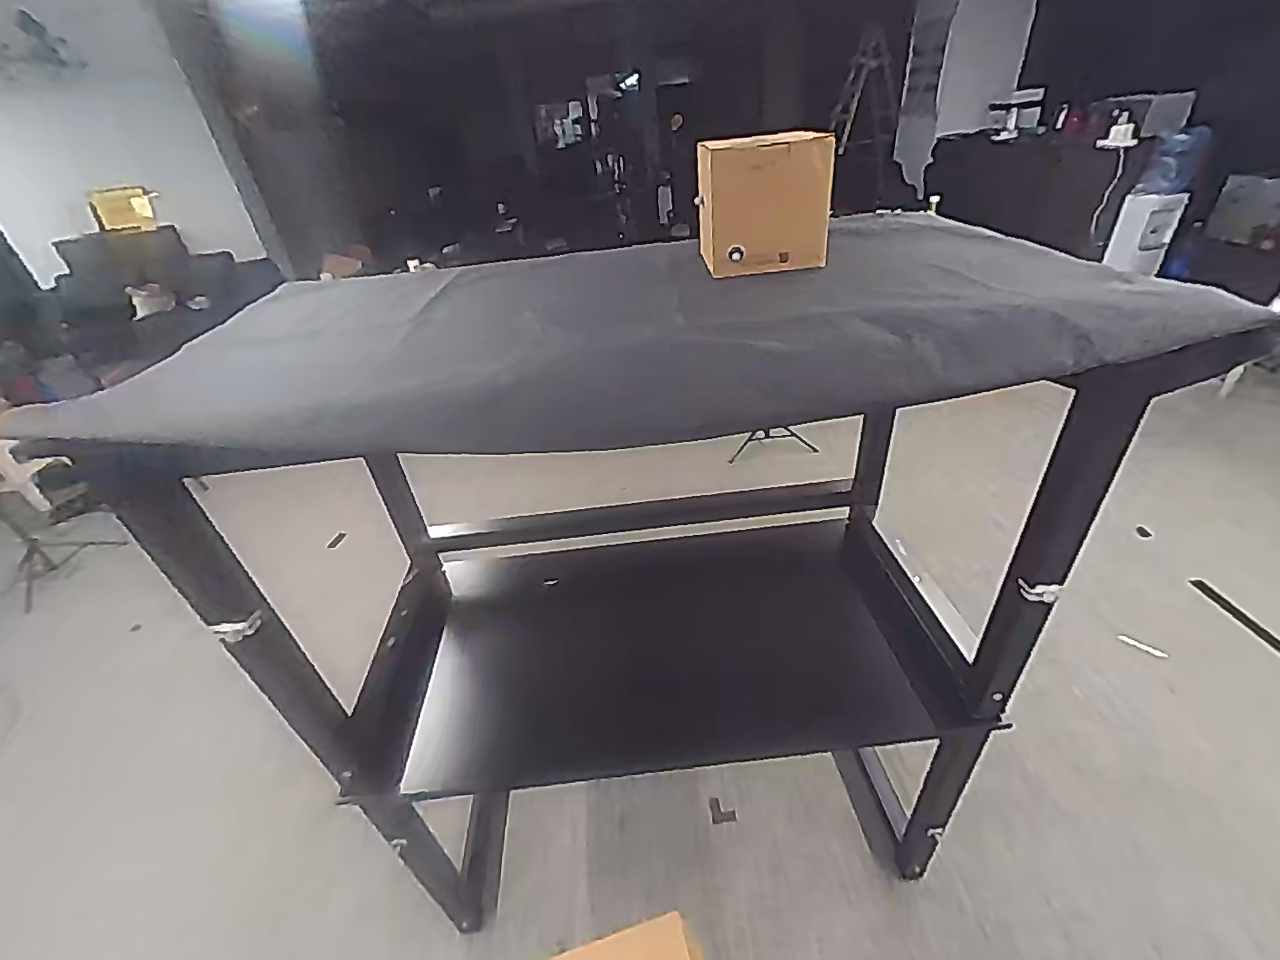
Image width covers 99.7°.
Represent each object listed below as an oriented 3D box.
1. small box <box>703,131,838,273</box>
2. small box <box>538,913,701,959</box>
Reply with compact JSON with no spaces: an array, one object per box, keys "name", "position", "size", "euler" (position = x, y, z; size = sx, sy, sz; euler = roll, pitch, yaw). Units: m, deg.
[{"name":"small box","position":[0.188,-0.419,0.821],"size":[0.168,0.176,0.179],"euler":[-4,34,2]},{"name":"small box","position":[-0.011,0.562,0.530],"size":[0.179,0.176,0.168],"euler":[-19,43,-3]}]
